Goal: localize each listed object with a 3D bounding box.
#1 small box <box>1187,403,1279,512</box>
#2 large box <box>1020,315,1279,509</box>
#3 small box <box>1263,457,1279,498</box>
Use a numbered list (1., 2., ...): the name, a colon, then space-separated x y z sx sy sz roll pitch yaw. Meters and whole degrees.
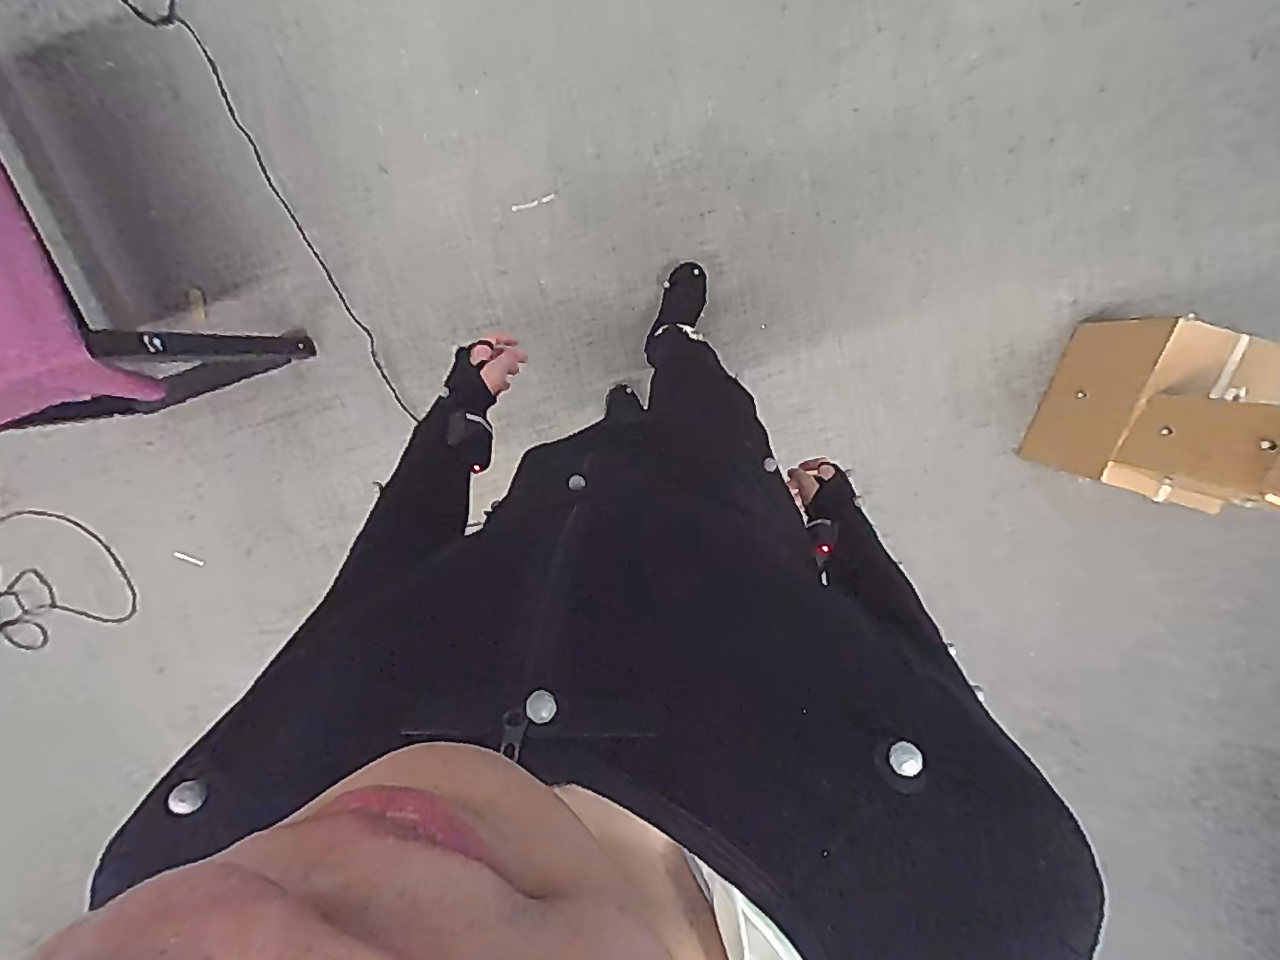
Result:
1. small box: 1.218 -0.036 1.027 0.168 0.176 0.179 19 102 -2
2. large box: 1.301 -0.181 1.410 0.320 0.320 0.408 15 103 -3
3. small box: 1.201 -0.010 0.865 0.179 0.176 0.168 20 102 -4
